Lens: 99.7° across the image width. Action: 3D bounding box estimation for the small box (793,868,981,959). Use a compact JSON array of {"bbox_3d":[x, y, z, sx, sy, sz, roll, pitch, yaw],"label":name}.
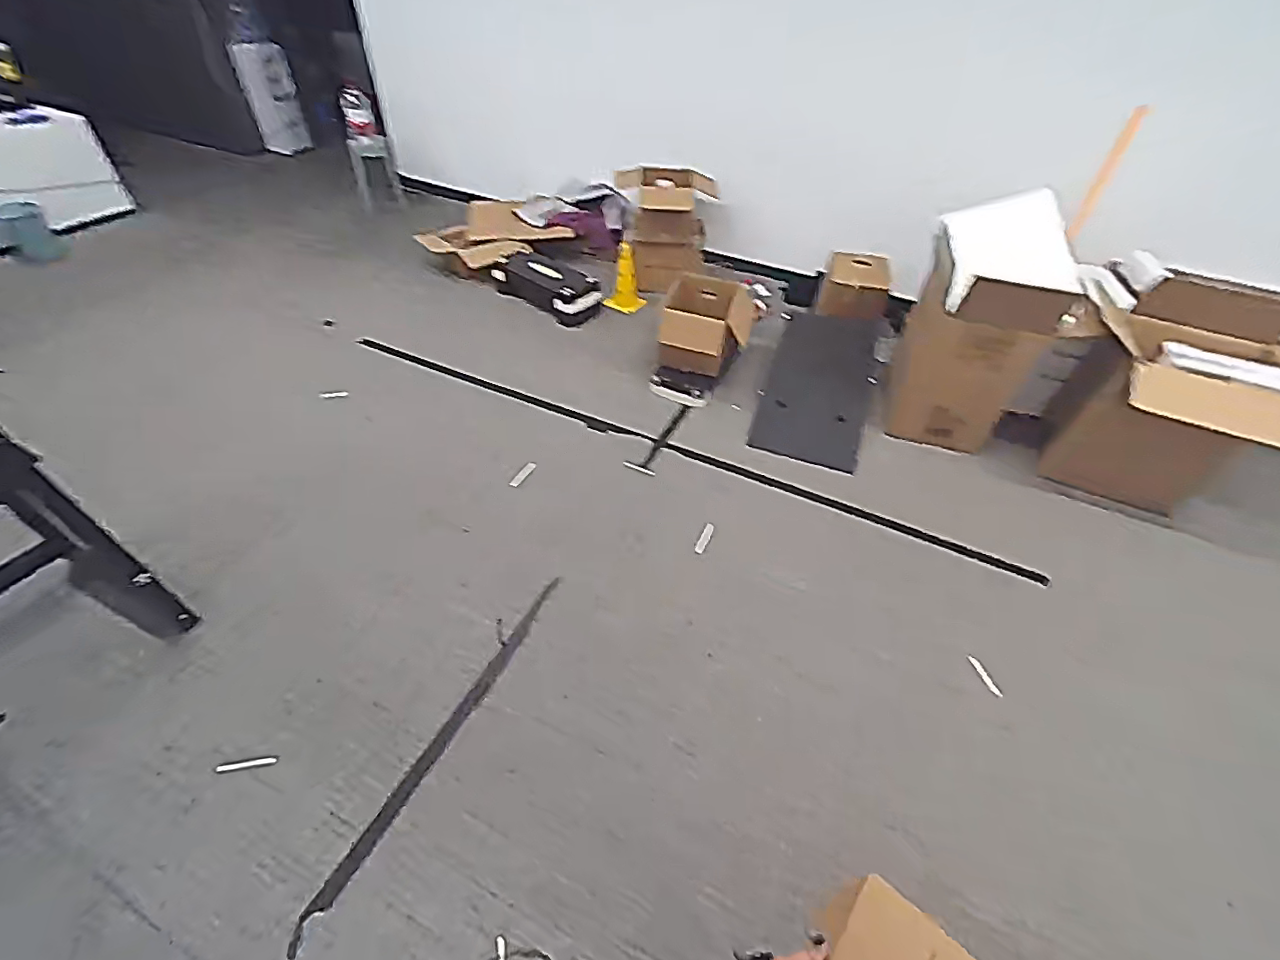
[{"bbox_3d":[0.262,0.577,0.583,0.168,0.176,0.179,33,51,25],"label":"small box"}]
